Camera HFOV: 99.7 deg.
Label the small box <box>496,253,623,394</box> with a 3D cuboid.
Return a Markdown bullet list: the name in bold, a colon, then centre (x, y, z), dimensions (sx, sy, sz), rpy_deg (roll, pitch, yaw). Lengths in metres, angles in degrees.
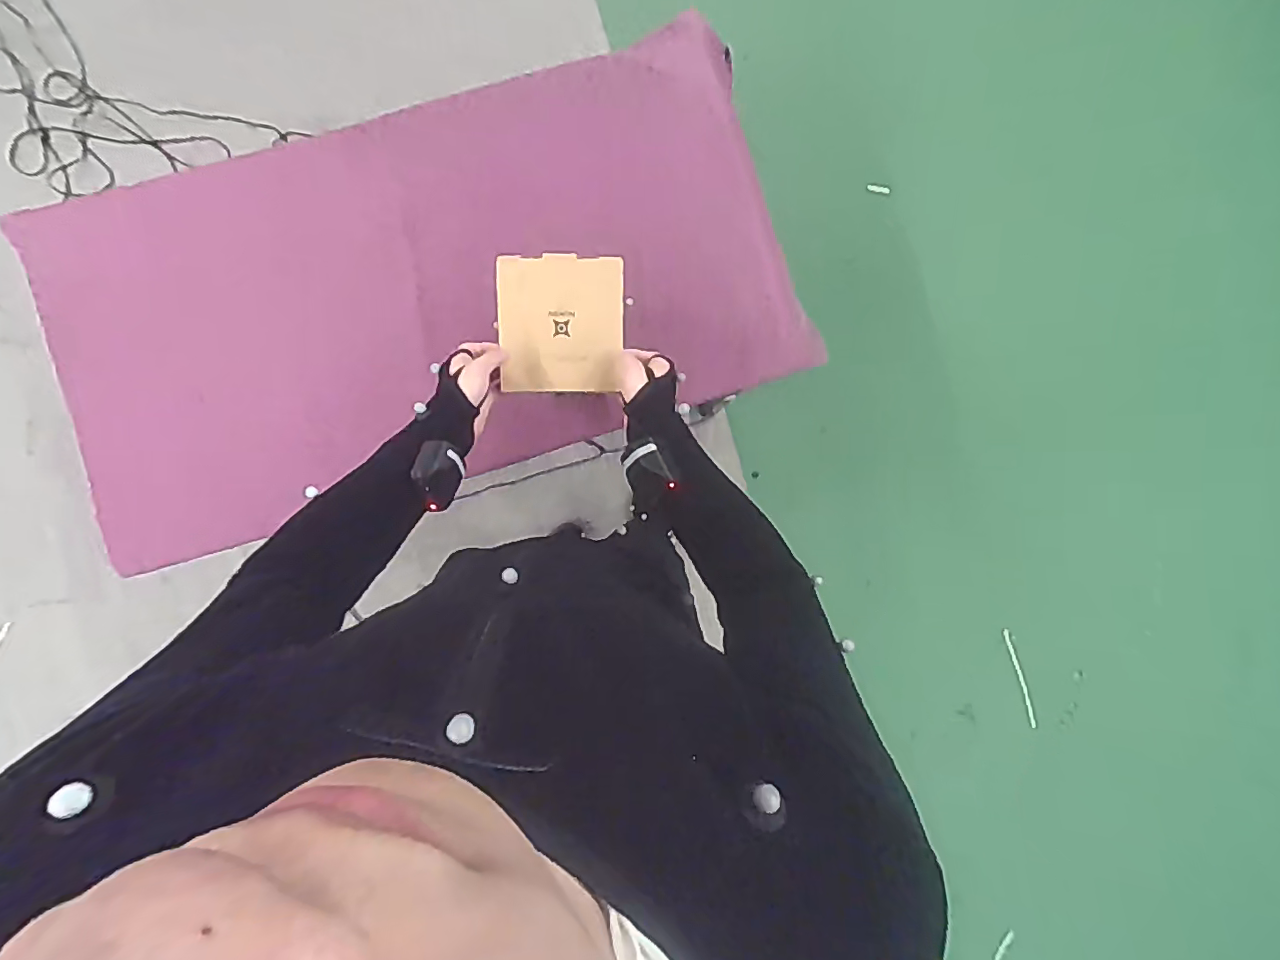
- **small box**: centre (-0.111, -0.217, 0.789), dimensions (0.168, 0.176, 0.179), rpy_deg (1, 99, -3)
